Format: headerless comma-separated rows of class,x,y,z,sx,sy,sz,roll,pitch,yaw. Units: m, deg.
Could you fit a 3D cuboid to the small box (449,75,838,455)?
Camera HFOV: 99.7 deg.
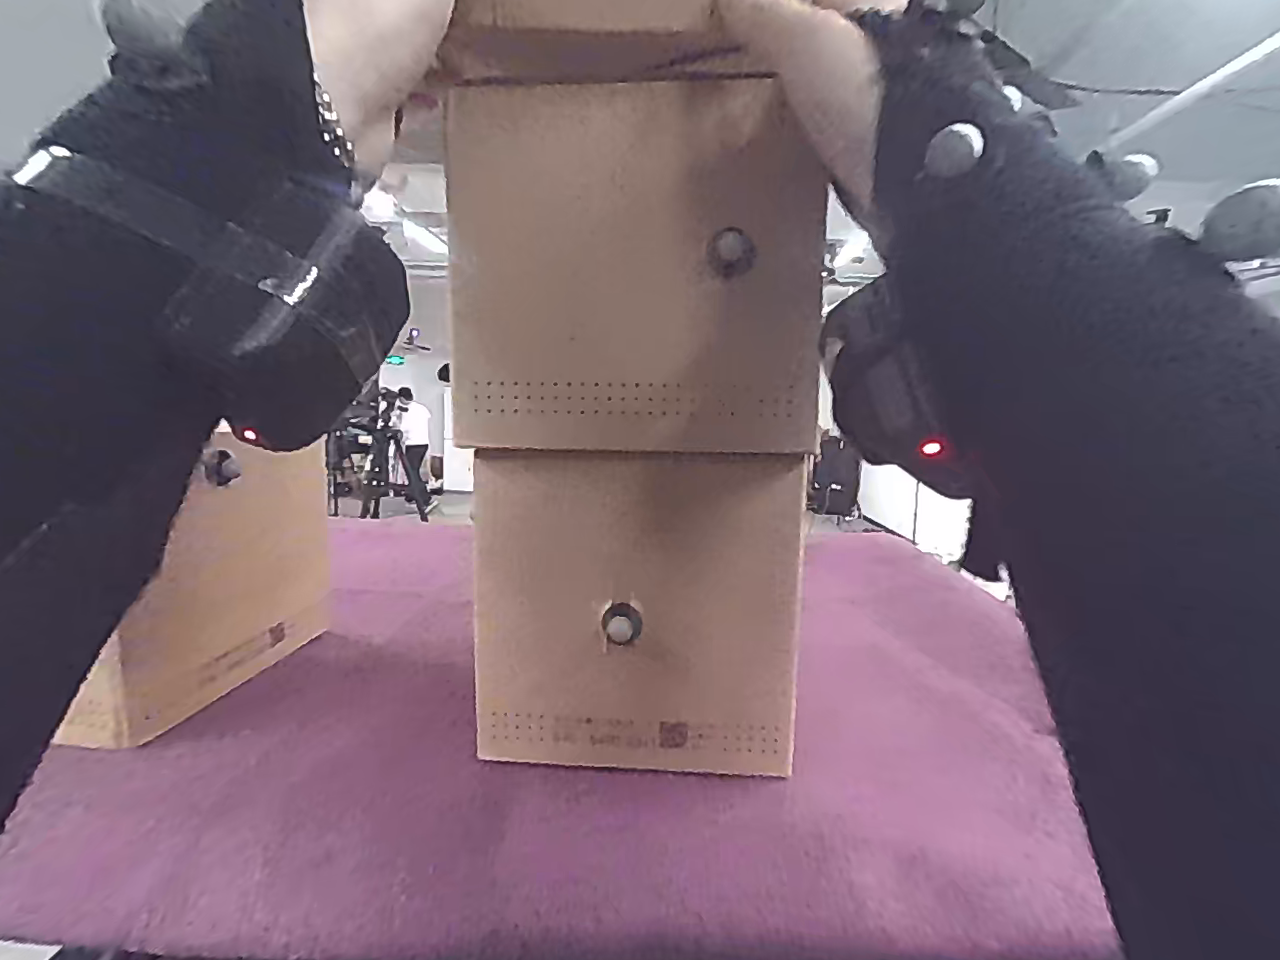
small box,0.004,-0.101,0.325,0.179,0.176,0.168,0,5,3

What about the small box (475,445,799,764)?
small box,0.003,0.059,0.357,0.168,0.176,0.179,2,6,4
